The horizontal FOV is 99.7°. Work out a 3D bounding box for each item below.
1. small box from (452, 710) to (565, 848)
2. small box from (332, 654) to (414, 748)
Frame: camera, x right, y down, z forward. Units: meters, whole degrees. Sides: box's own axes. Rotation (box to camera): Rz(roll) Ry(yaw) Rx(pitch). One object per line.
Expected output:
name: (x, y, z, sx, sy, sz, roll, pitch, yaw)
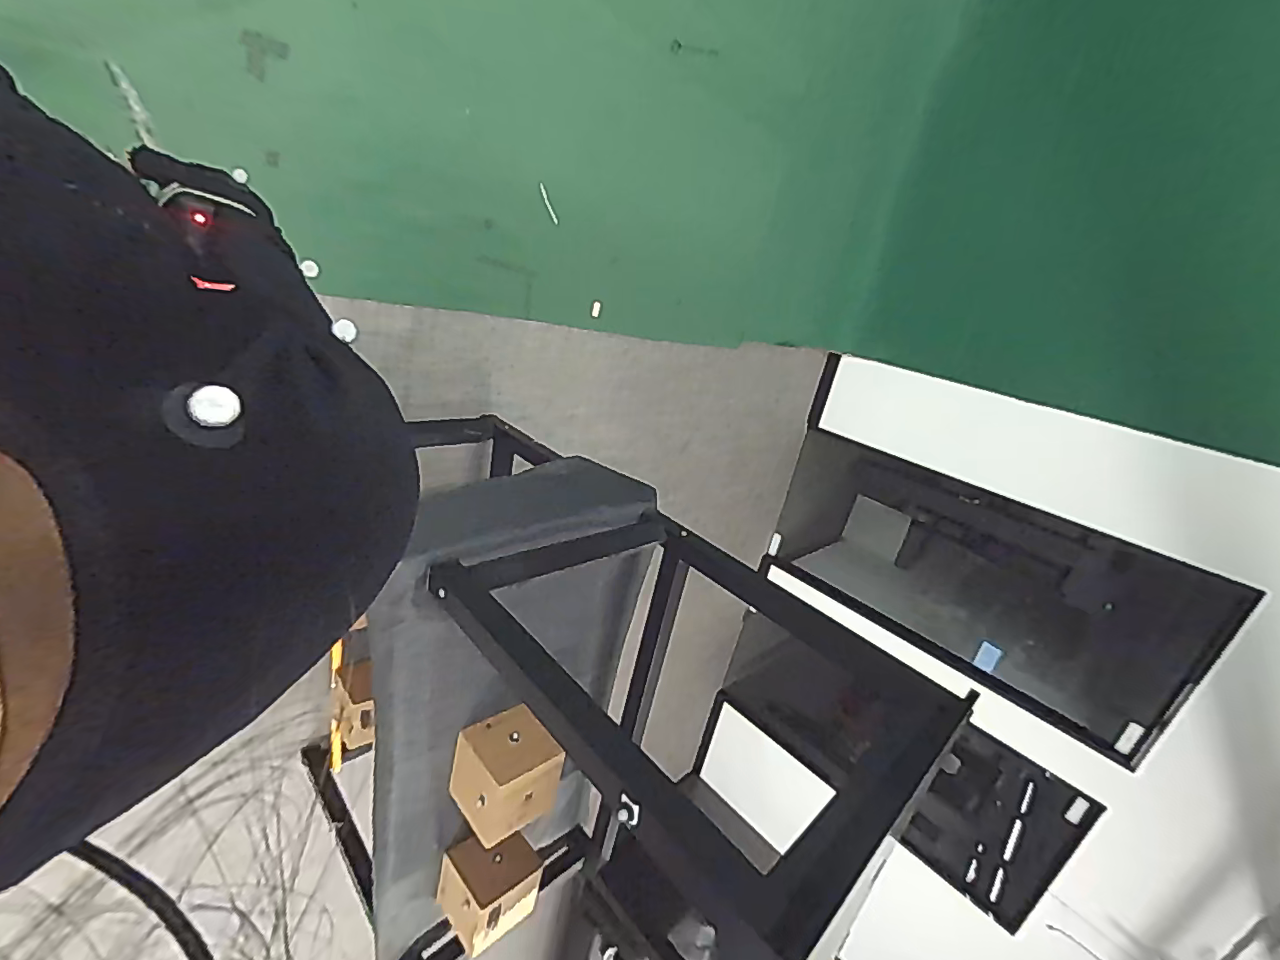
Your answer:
small box: (-0.290, 0.635, 1.179, 0.168, 0.176, 0.179, -6, 117, -46)
small box: (-0.809, 0.658, 1.629, 0.179, 0.176, 0.168, -5, 117, -46)
